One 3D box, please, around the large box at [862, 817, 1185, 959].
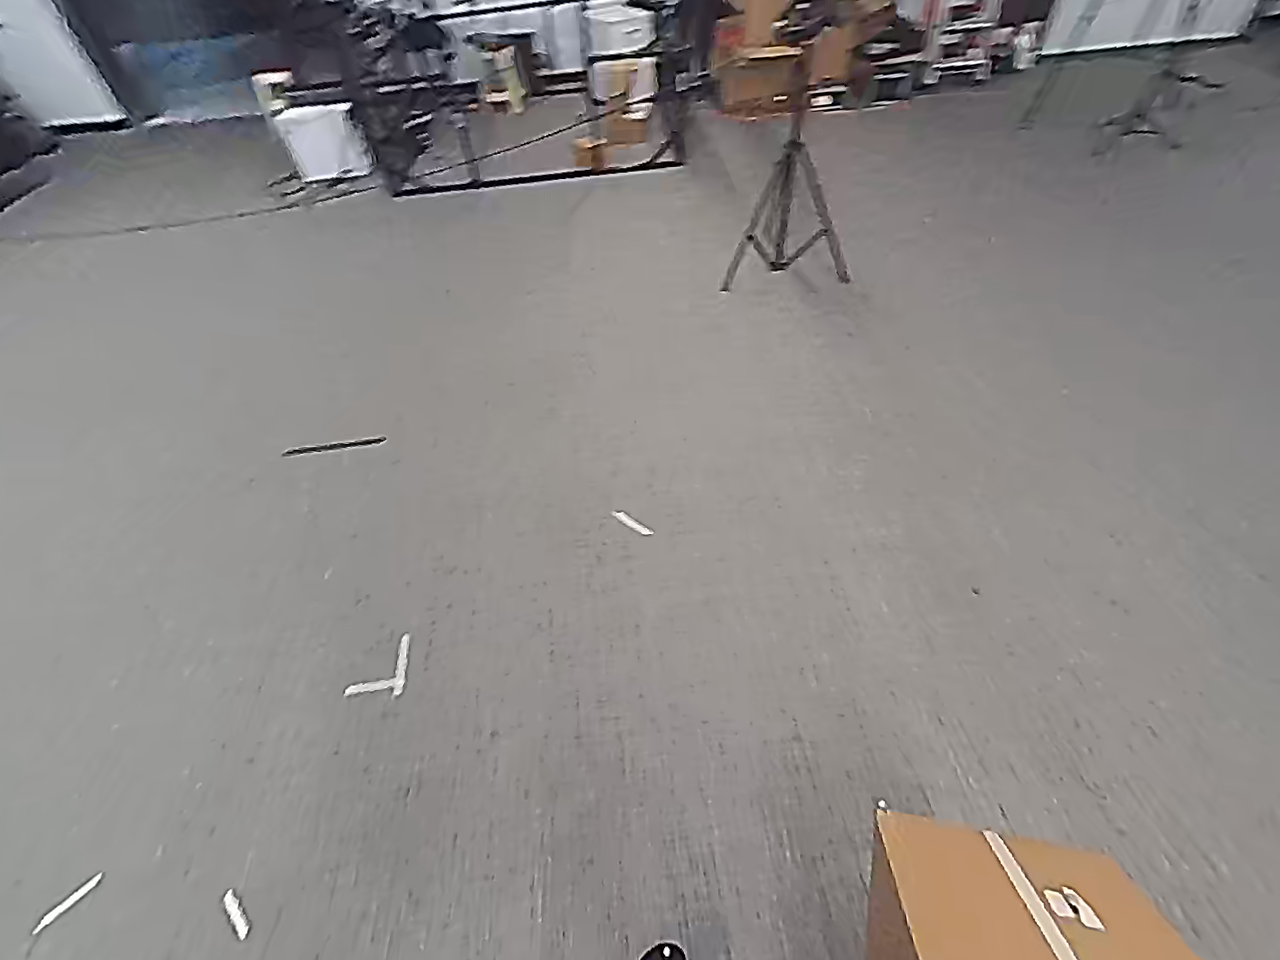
[{"bbox_3d":[0.452,0.679,0.614,0.320,0.408,0.320,6,90,13],"label":"large box"}]
